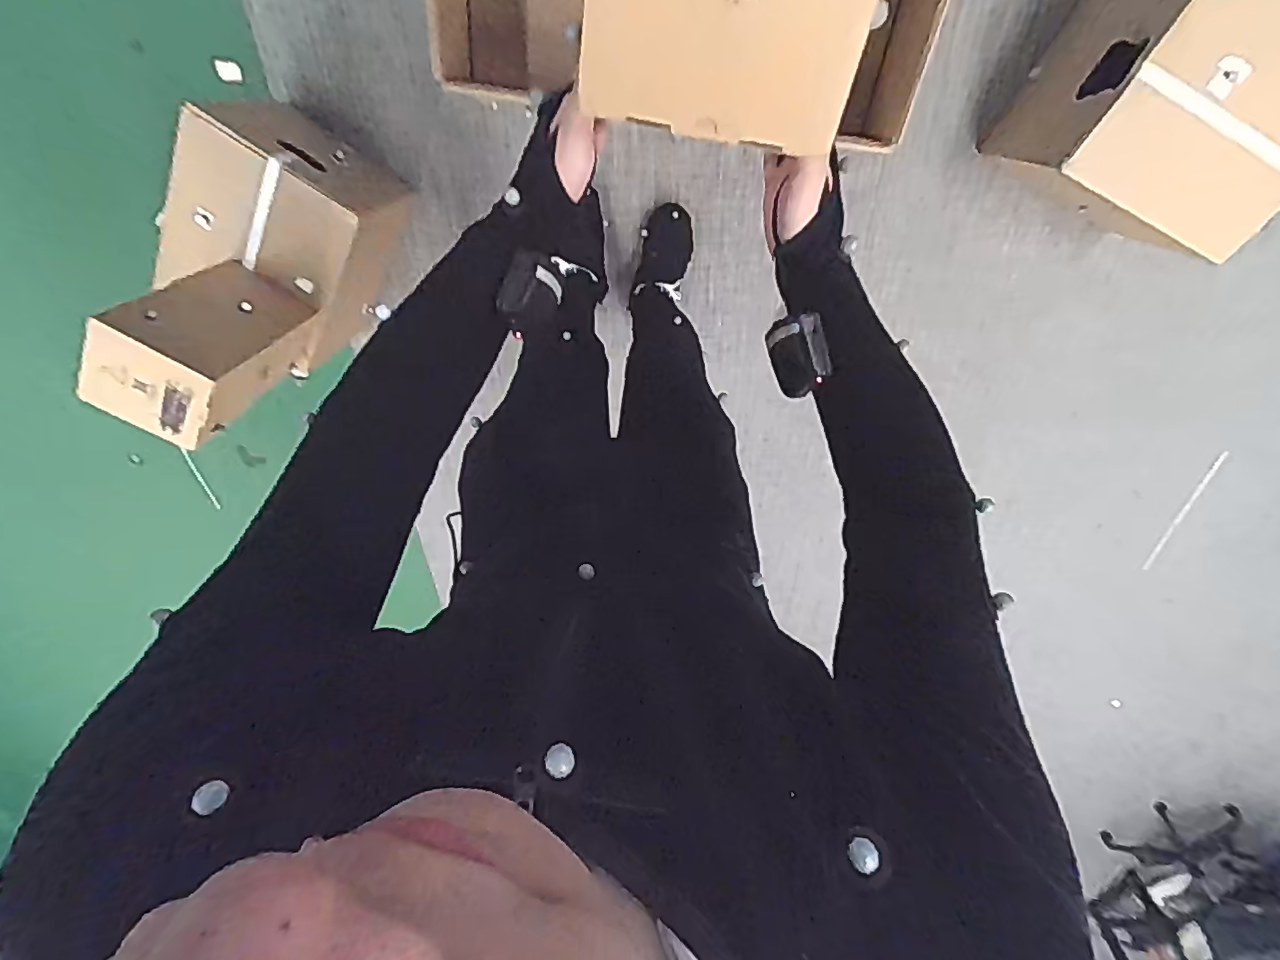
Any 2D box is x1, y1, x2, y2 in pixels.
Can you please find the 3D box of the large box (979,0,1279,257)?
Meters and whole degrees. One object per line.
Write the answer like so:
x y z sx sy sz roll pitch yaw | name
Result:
0.970 -0.682 1.020 0.408 0.320 0.320 20 123 -11 | large box

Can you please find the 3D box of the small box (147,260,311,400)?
-0.776 -0.293 1.038 0.179 0.176 0.168 33 119 -21 | small box

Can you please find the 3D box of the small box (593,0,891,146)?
0.065 -0.343 0.354 0.168 0.176 0.179 8 128 -5 | small box
